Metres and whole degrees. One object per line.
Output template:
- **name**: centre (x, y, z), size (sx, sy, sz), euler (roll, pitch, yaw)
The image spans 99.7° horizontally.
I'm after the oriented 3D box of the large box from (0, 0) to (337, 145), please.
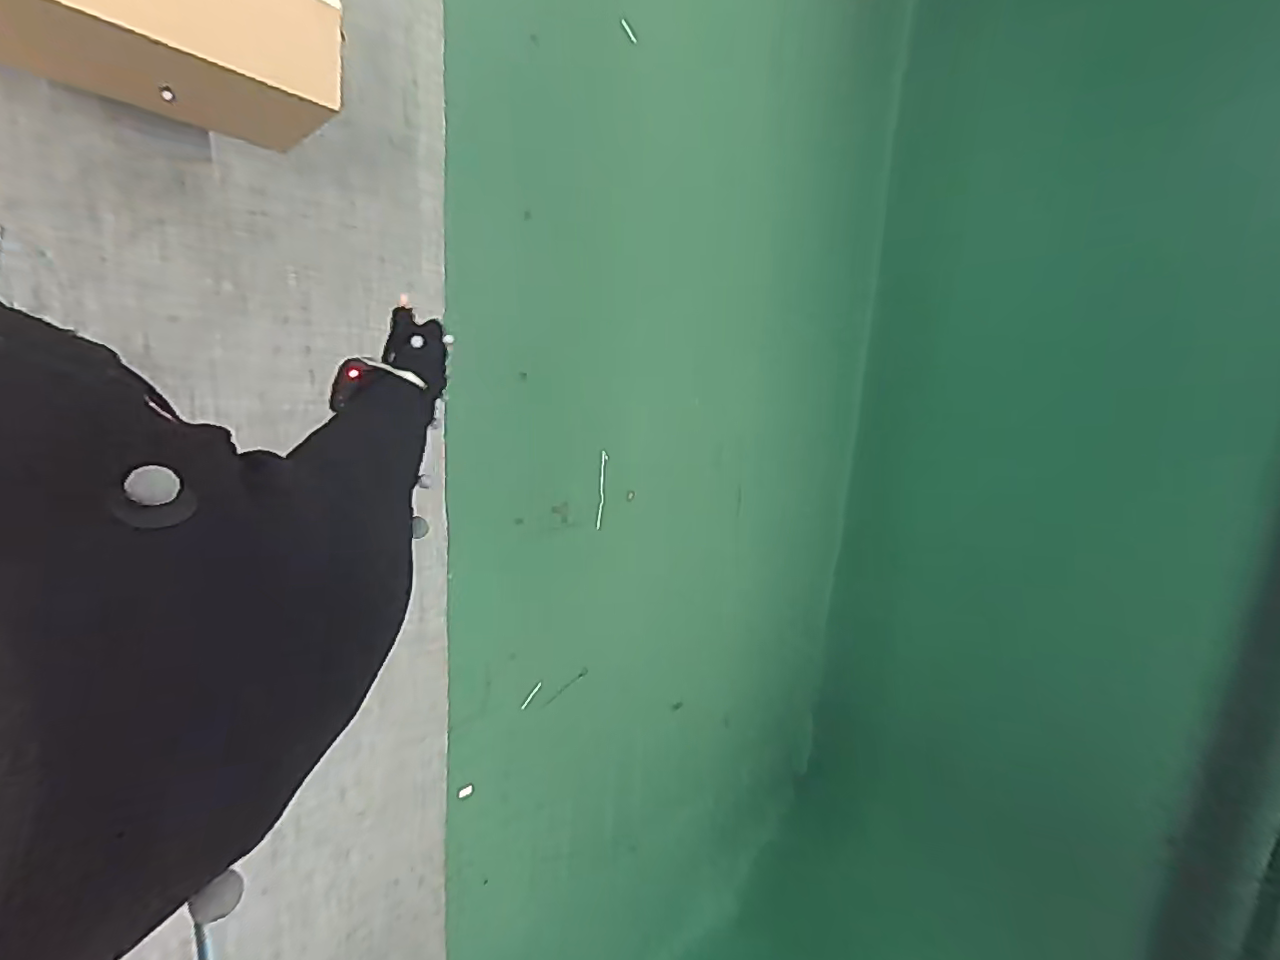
- **large box**: centre (-0.736, -0.777, 0.829), size (0.408, 0.320, 0.320), euler (-6, 104, -47)
